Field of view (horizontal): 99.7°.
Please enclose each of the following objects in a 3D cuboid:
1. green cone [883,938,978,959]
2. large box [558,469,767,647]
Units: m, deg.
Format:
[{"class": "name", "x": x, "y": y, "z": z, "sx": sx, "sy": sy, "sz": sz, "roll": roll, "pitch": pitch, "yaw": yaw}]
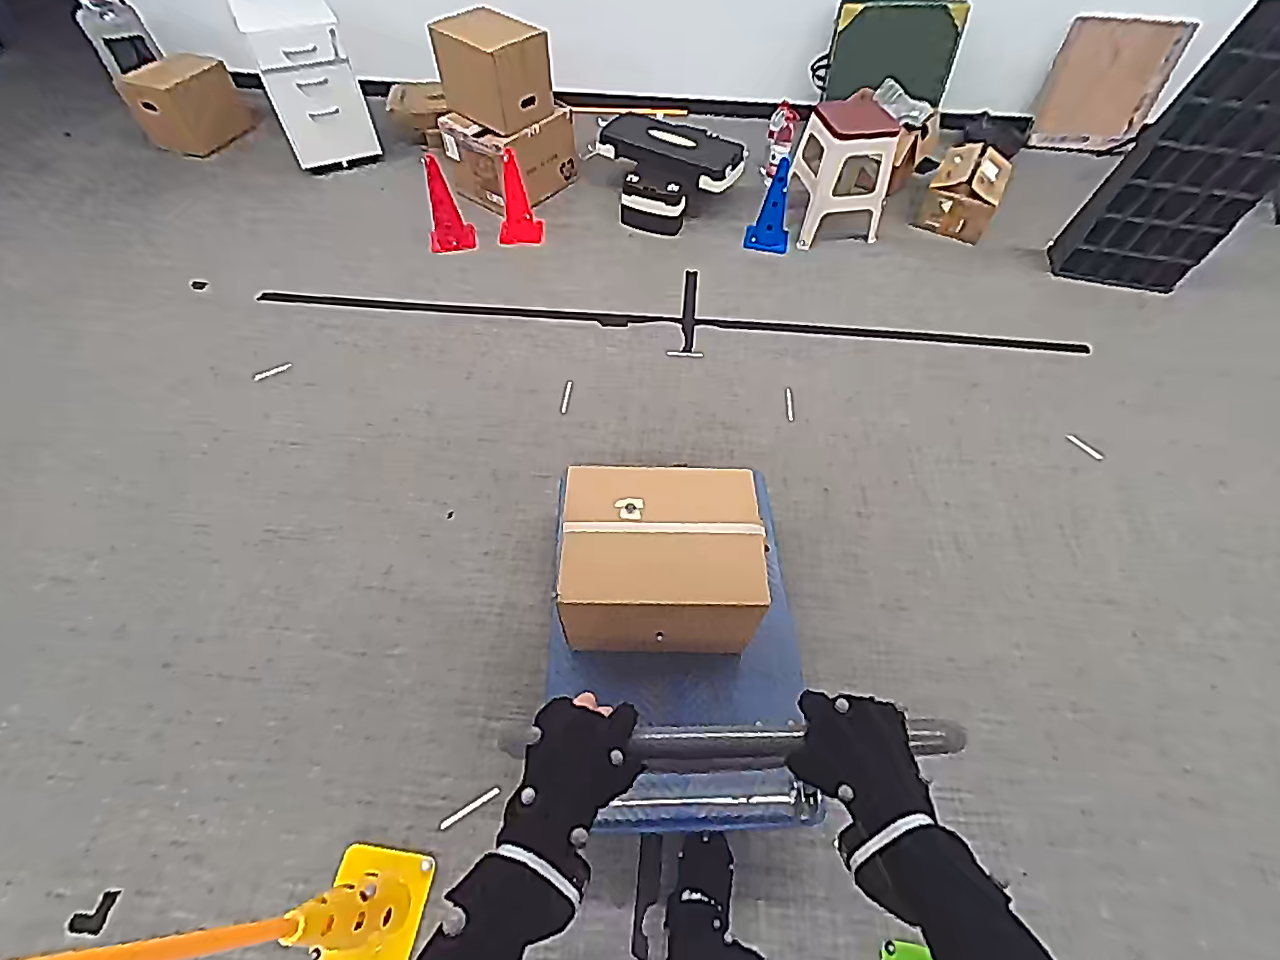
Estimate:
[{"class": "green cone", "x": 0.583, "y": 0.928, "z": 0.900, "sx": 0.202, "sy": 0.368, "sz": 0.200, "roll": 9, "pitch": 56, "yaw": 3}, {"class": "large box", "x": 0.043, "y": 0.185, "z": 1.222, "sx": 0.408, "sy": 0.320, "sz": 0.320, "roll": 0, "pitch": 56, "yaw": 0}]
